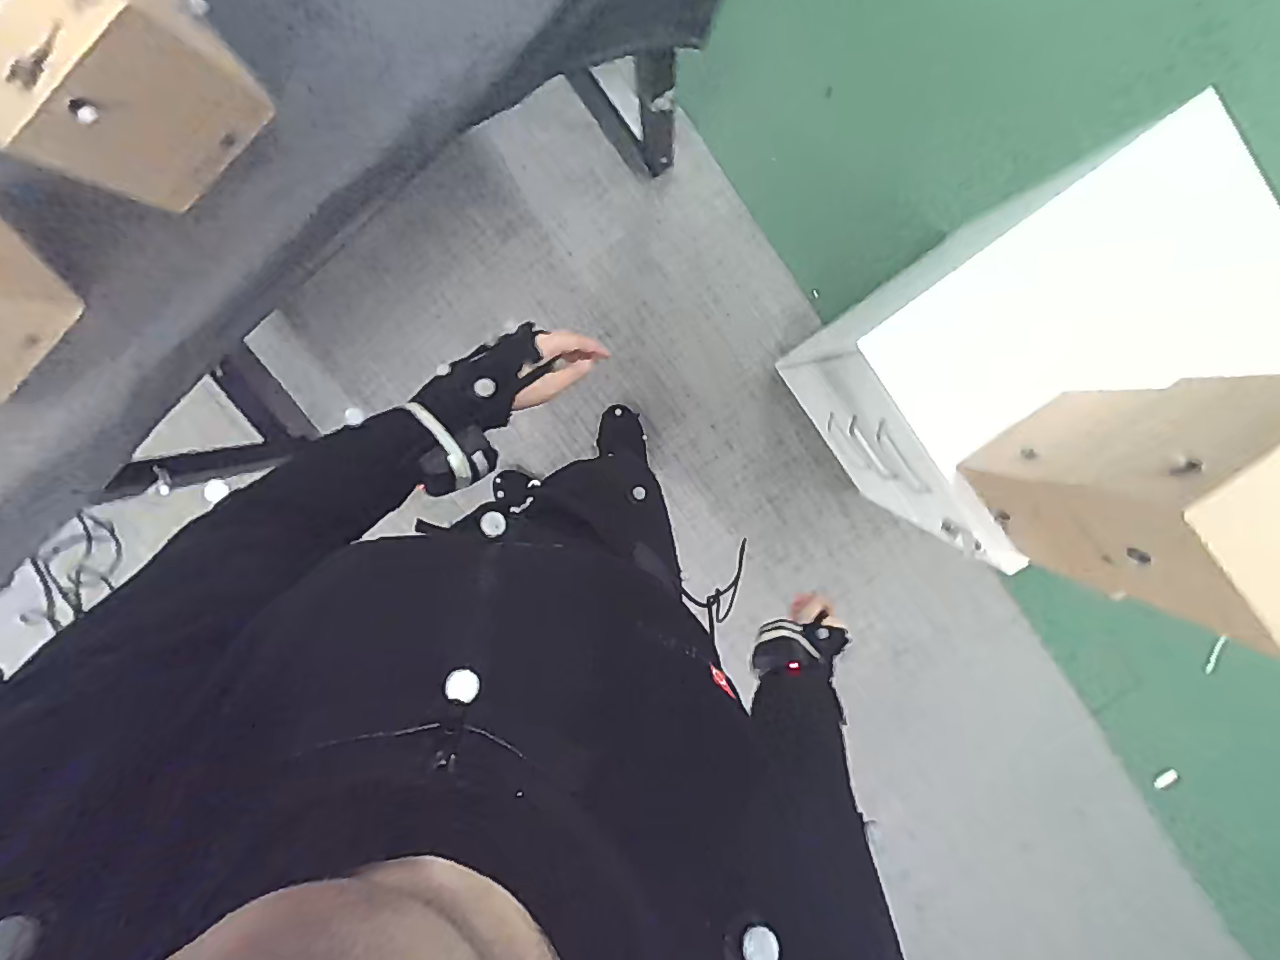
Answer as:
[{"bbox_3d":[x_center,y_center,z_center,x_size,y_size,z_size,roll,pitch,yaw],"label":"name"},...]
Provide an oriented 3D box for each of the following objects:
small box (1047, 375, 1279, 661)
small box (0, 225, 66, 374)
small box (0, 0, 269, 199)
[{"bbox_3d":[0.530,0.022,0.499,0.179,0.176,0.168,-39,96,7],"label":"small box"},{"bbox_3d":[-0.752,-0.199,0.531,0.168,0.176,0.179,-41,96,7],"label":"small box"},{"bbox_3d":[-0.502,-0.399,0.490,0.168,0.176,0.179,-39,95,7],"label":"small box"}]
